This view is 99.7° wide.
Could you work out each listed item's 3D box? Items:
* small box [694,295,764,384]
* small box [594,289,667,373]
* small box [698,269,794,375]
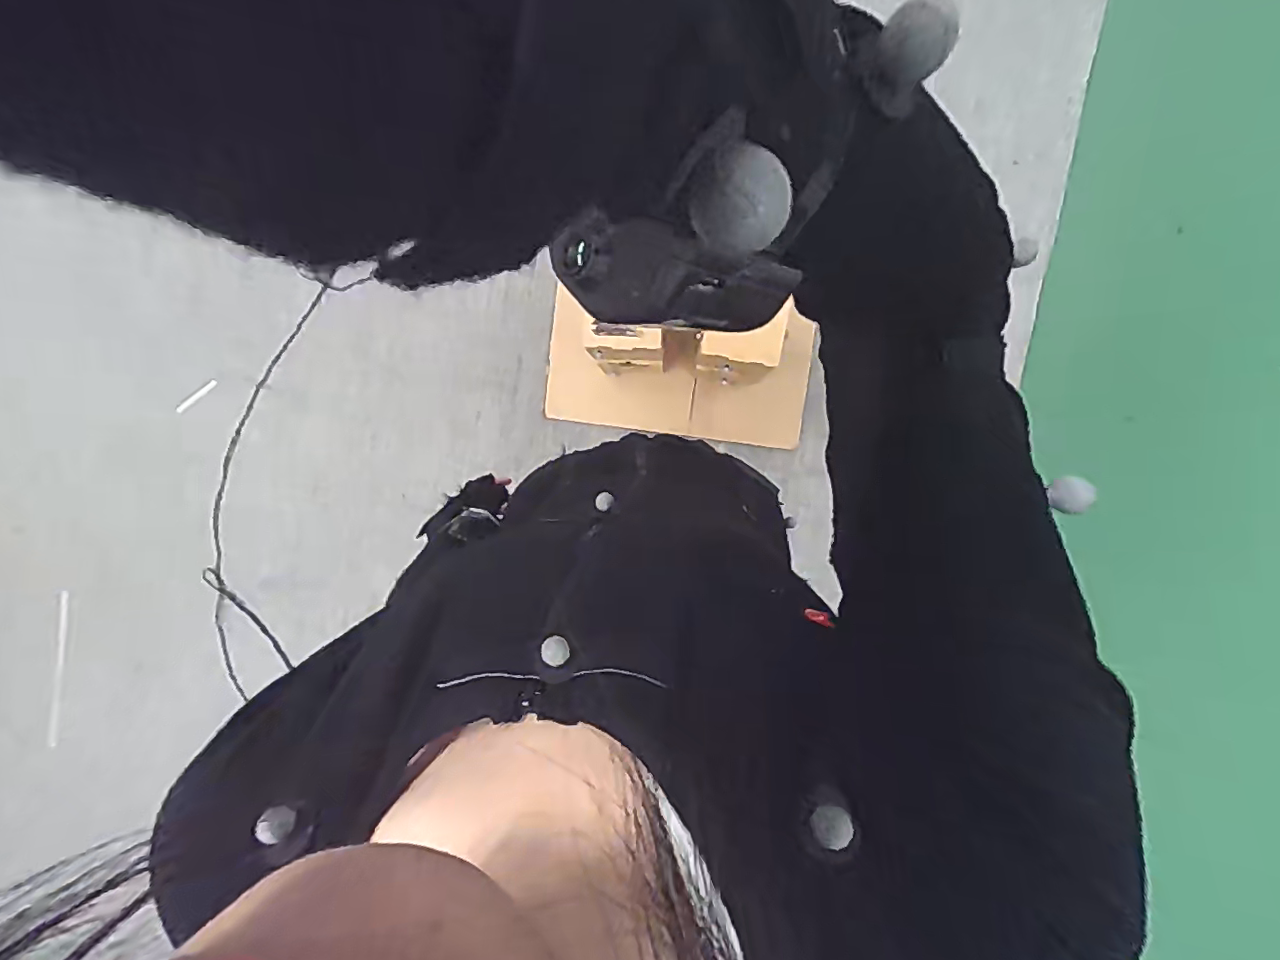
[{"bbox_3d":[0.229,-0.346,1.356,0.168,0.176,0.179,8,95,3],"label":"small box"},{"bbox_3d":[-0.020,-0.368,1.362,0.168,0.176,0.179,3,94,2],"label":"small box"},{"bbox_3d":[0.225,-0.340,1.194,0.168,0.176,0.179,11,95,2],"label":"small box"}]
